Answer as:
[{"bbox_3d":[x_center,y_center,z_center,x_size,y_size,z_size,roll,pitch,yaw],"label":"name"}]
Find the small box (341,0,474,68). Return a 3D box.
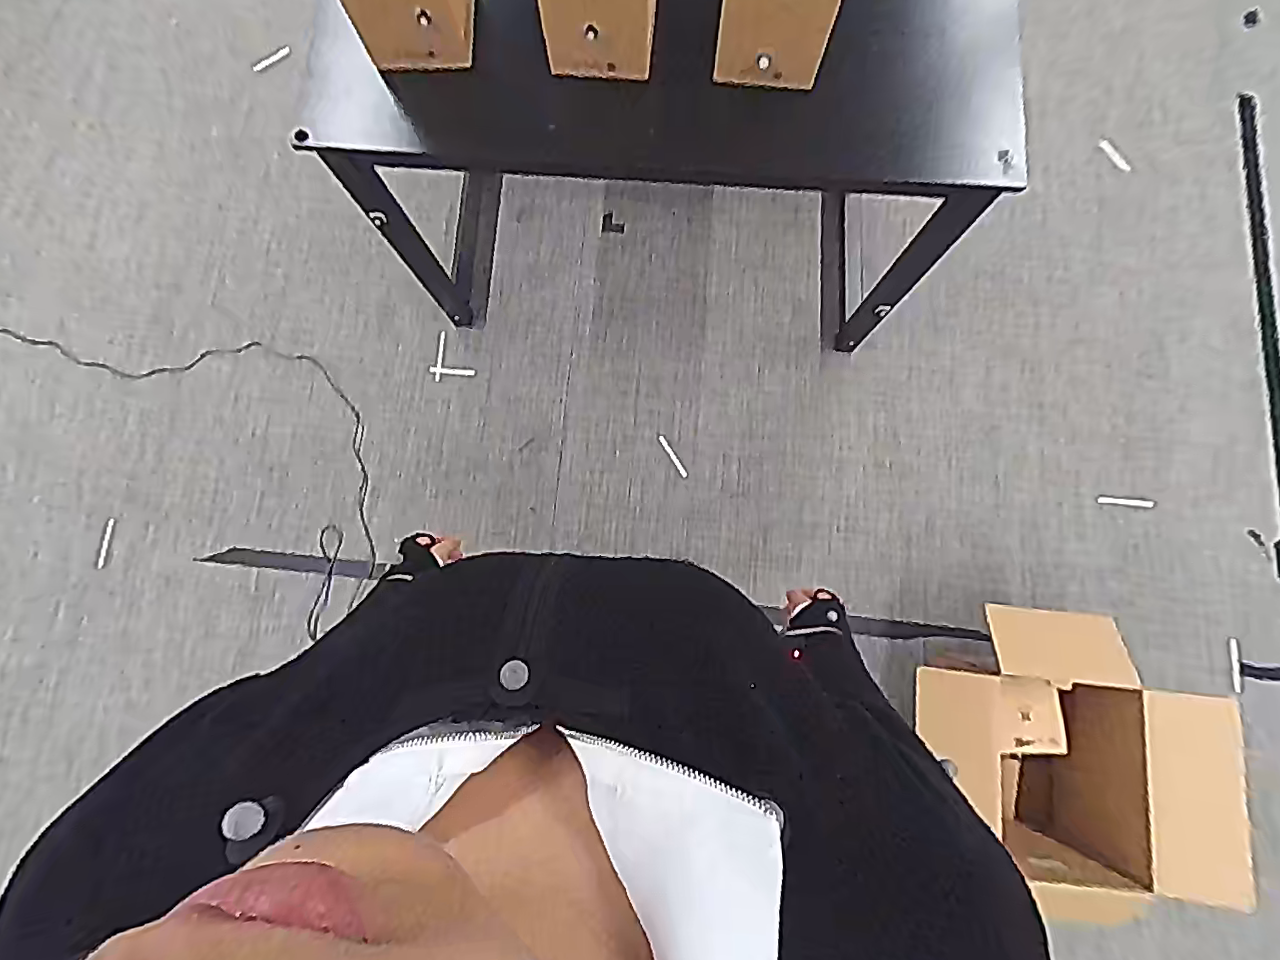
[{"bbox_3d":[-0.370,-0.794,0.854,0.168,0.176,0.179,-1,80,-1],"label":"small box"}]

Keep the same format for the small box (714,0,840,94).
[{"bbox_3d":[0.211,-0.754,0.840,0.168,0.176,0.179,7,82,2],"label":"small box"}]

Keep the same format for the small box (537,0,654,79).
[{"bbox_3d":[-0.063,-0.774,0.846,0.168,0.176,0.179,5,81,1],"label":"small box"}]
